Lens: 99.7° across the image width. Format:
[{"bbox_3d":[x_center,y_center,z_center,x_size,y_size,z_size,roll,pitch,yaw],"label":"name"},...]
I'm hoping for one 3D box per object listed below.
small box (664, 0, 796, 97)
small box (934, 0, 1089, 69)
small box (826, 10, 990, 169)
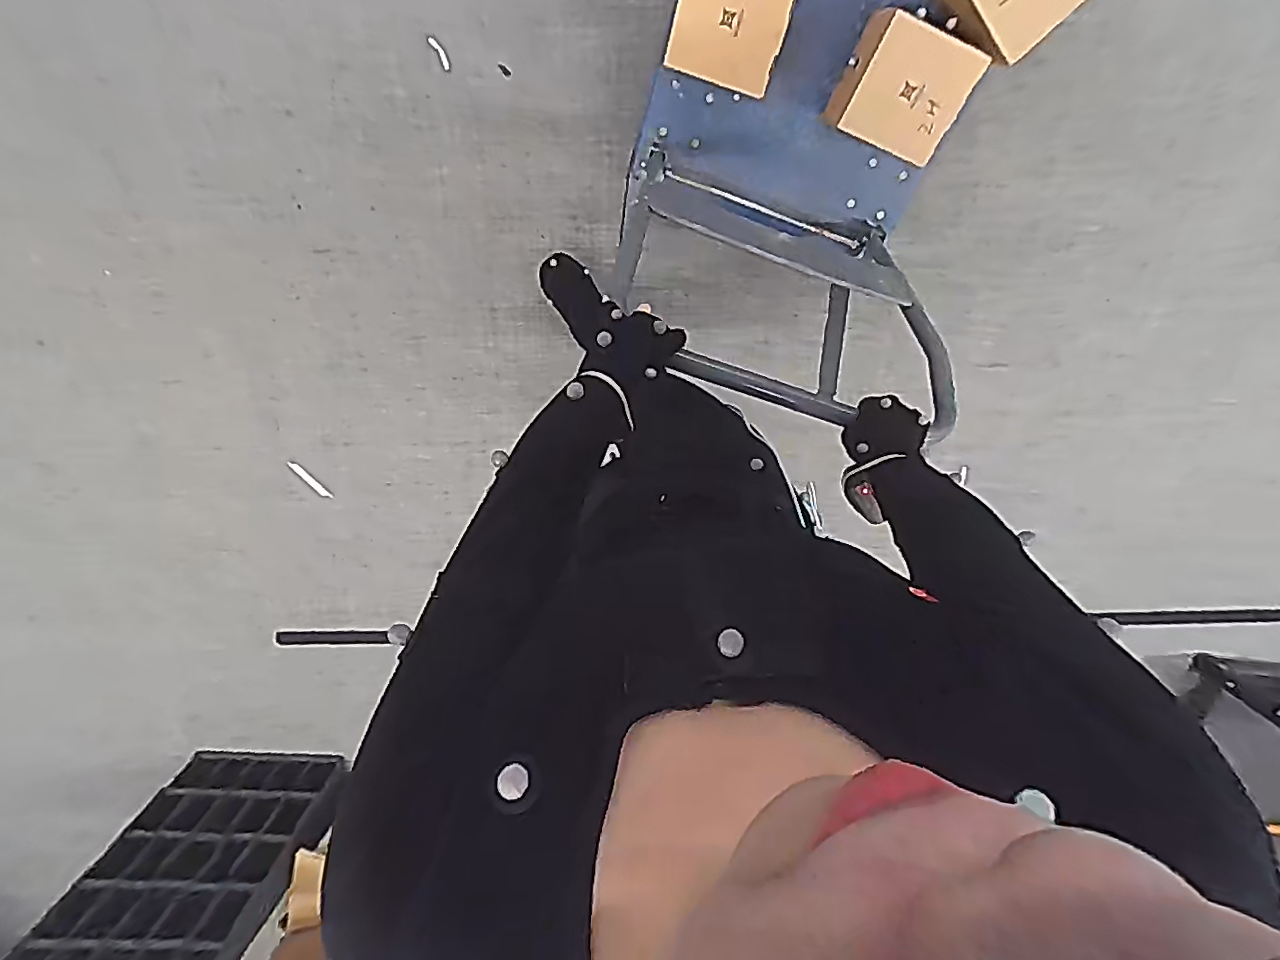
[{"bbox_3d":[0.149,-0.769,0.905,0.179,0.176,0.168,14,130,-7],"label":"small box"},{"bbox_3d":[0.587,-0.785,0.833,0.168,0.176,0.179,38,125,-22],"label":"small box"},{"bbox_3d":[0.449,-0.677,0.942,0.179,0.176,0.168,20,130,-9],"label":"small box"}]
